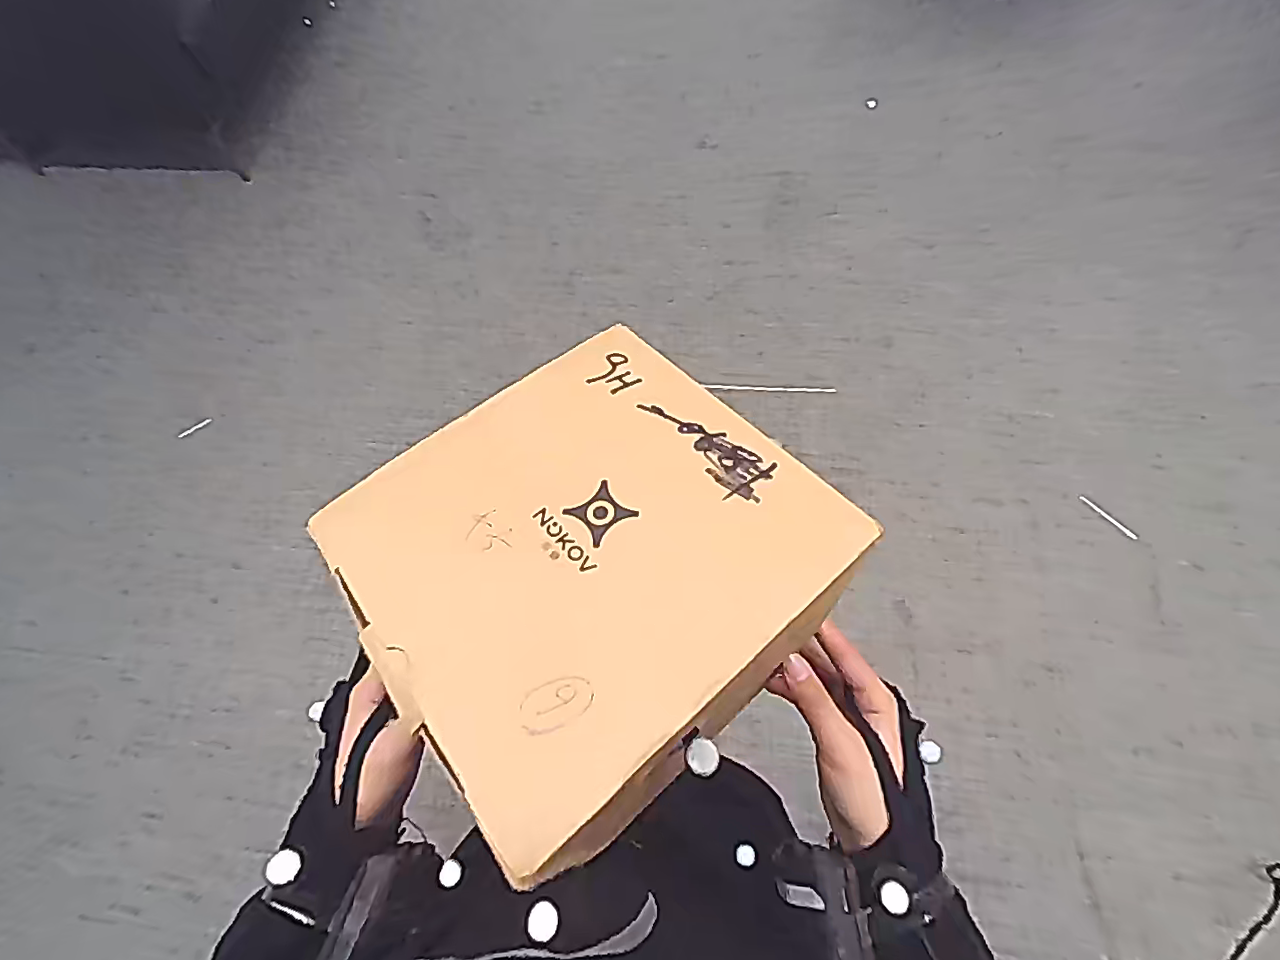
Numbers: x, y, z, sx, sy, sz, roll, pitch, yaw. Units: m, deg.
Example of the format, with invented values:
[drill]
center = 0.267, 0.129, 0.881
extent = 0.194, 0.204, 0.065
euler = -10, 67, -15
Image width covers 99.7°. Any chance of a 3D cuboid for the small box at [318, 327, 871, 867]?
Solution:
[small box]
center = -0.017, 0.062, 0.288
extent = 0.179, 0.176, 0.168
euler = -37, 62, -17
